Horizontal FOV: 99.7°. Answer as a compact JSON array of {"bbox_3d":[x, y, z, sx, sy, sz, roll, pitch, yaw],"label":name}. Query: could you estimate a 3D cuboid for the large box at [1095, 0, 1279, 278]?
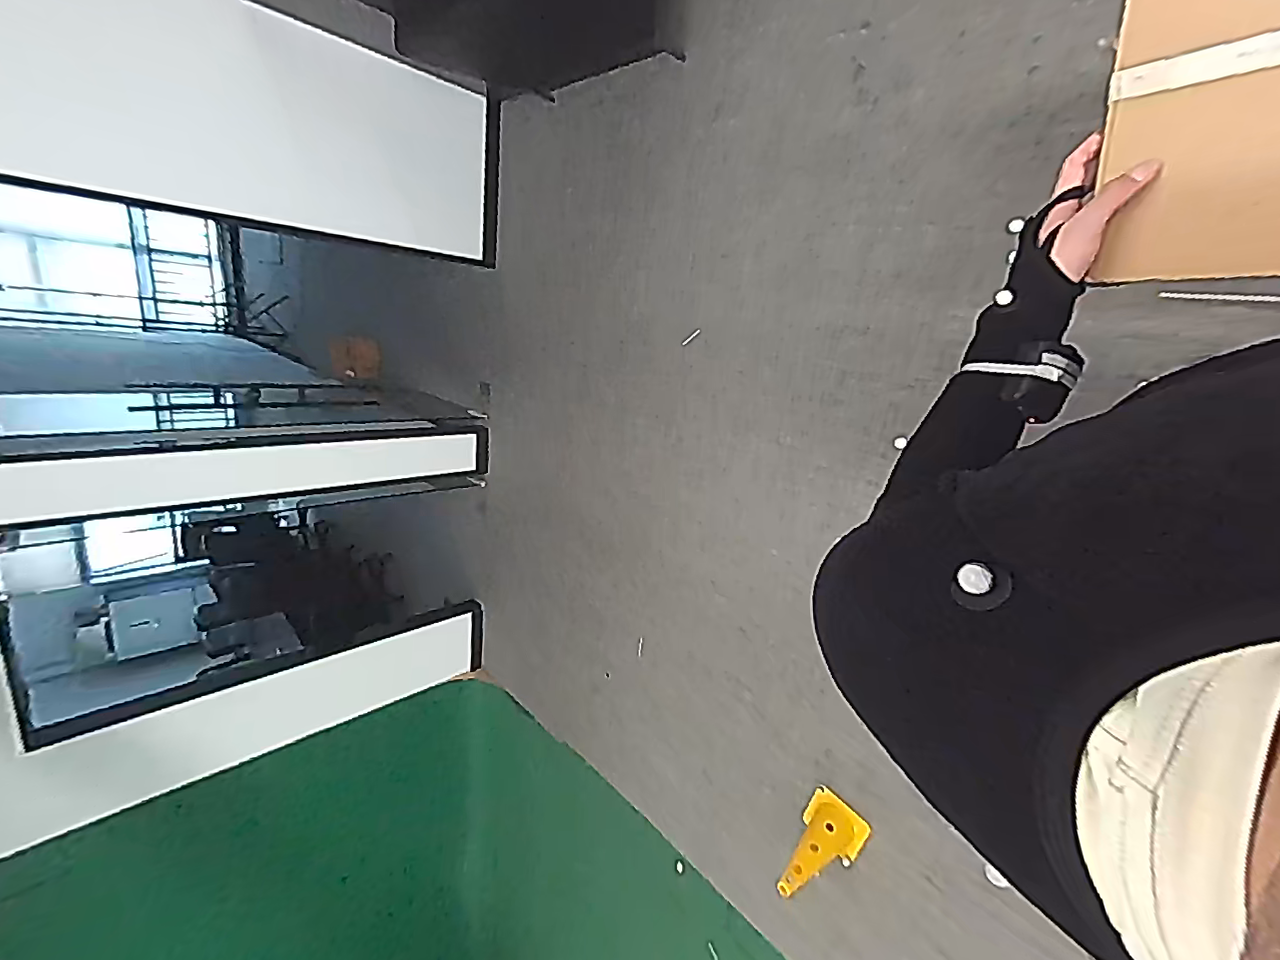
[{"bbox_3d":[0.642,-0.348,0.399,0.408,0.320,0.320,16,124,45],"label":"large box"}]
